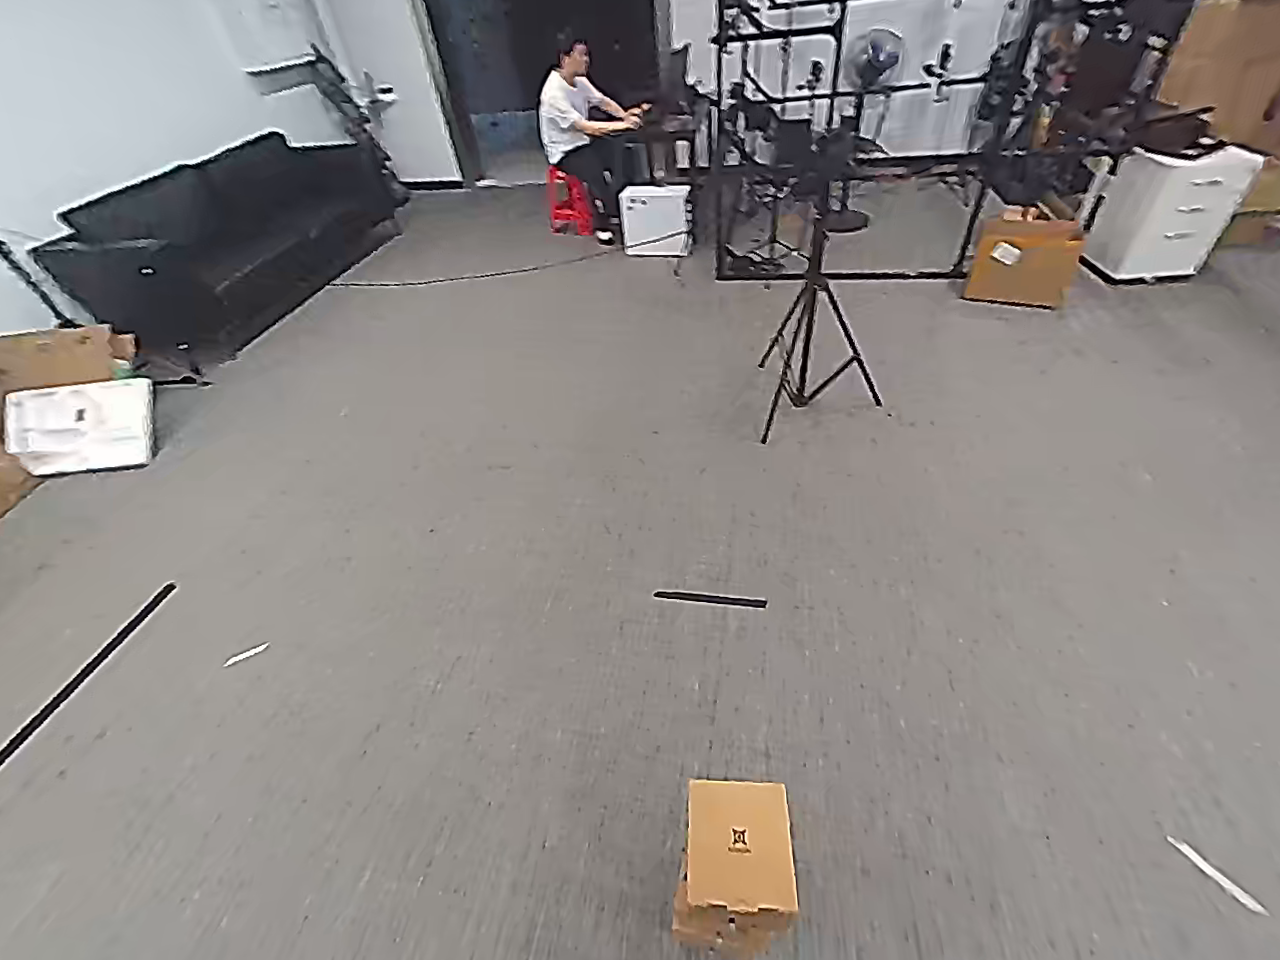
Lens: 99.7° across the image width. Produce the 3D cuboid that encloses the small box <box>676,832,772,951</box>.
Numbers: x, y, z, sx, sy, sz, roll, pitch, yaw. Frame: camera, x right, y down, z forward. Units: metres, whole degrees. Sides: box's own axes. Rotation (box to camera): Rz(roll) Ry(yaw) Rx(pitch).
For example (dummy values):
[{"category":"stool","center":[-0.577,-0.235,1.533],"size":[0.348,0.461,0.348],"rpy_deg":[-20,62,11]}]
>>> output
[{"category":"small box","center":[0.169,0.749,1.025],"size":[0.168,0.176,0.179],"rpy_deg":[6,45,16]}]

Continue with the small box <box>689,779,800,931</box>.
[{"category":"small box","center":[0.167,0.631,0.912],"size":[0.168,0.176,0.179],"rpy_deg":[-1,43,7]}]
